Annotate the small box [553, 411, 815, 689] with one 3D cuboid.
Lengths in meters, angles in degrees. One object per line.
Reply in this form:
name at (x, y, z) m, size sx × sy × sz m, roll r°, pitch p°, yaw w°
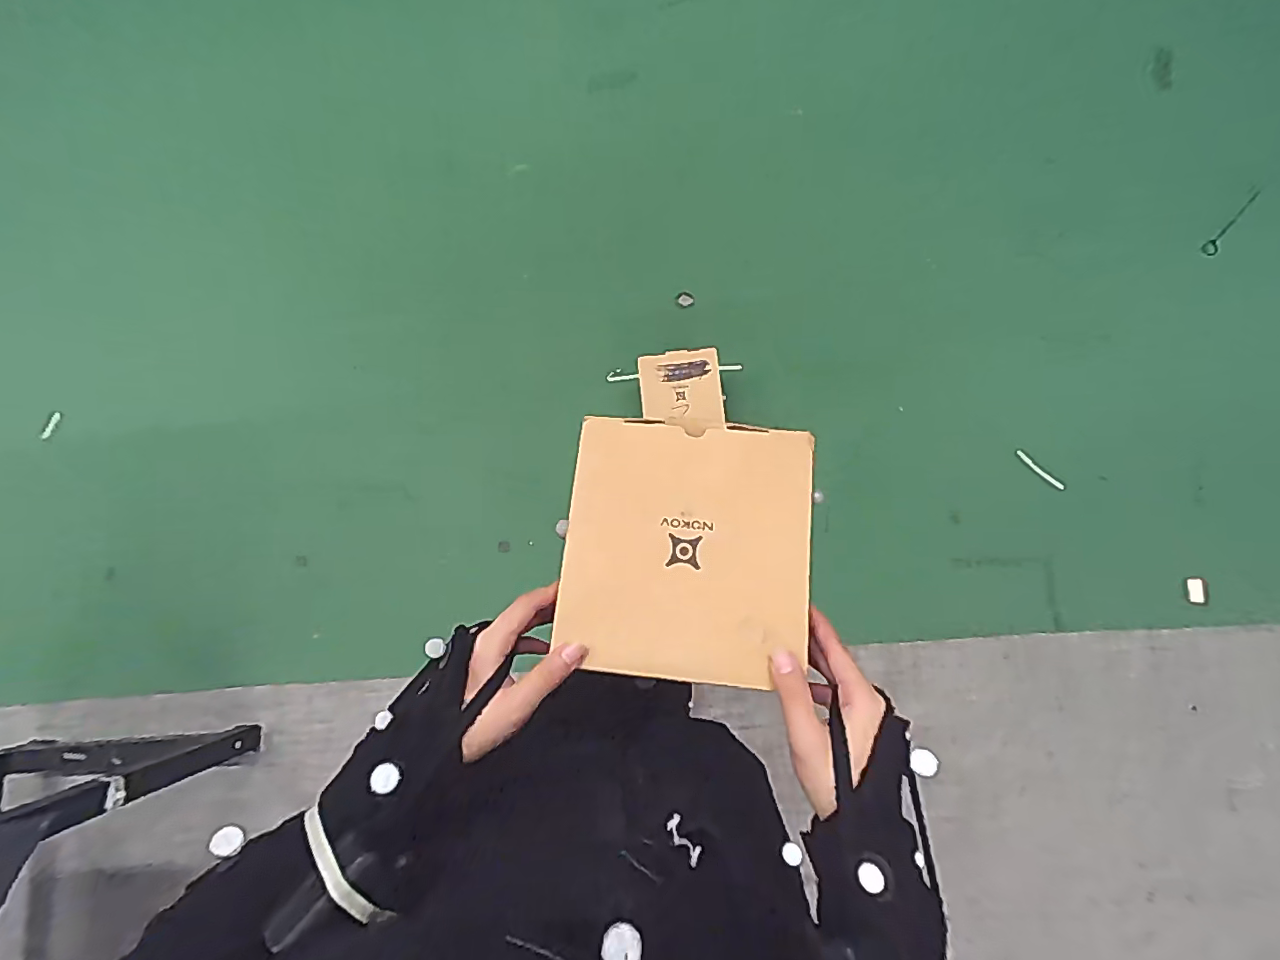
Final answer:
small box at (0.039, 0.060, 0.440) m, size 0.168 × 0.176 × 0.179 m, roll 4°, pitch 75°, yaw 5°
